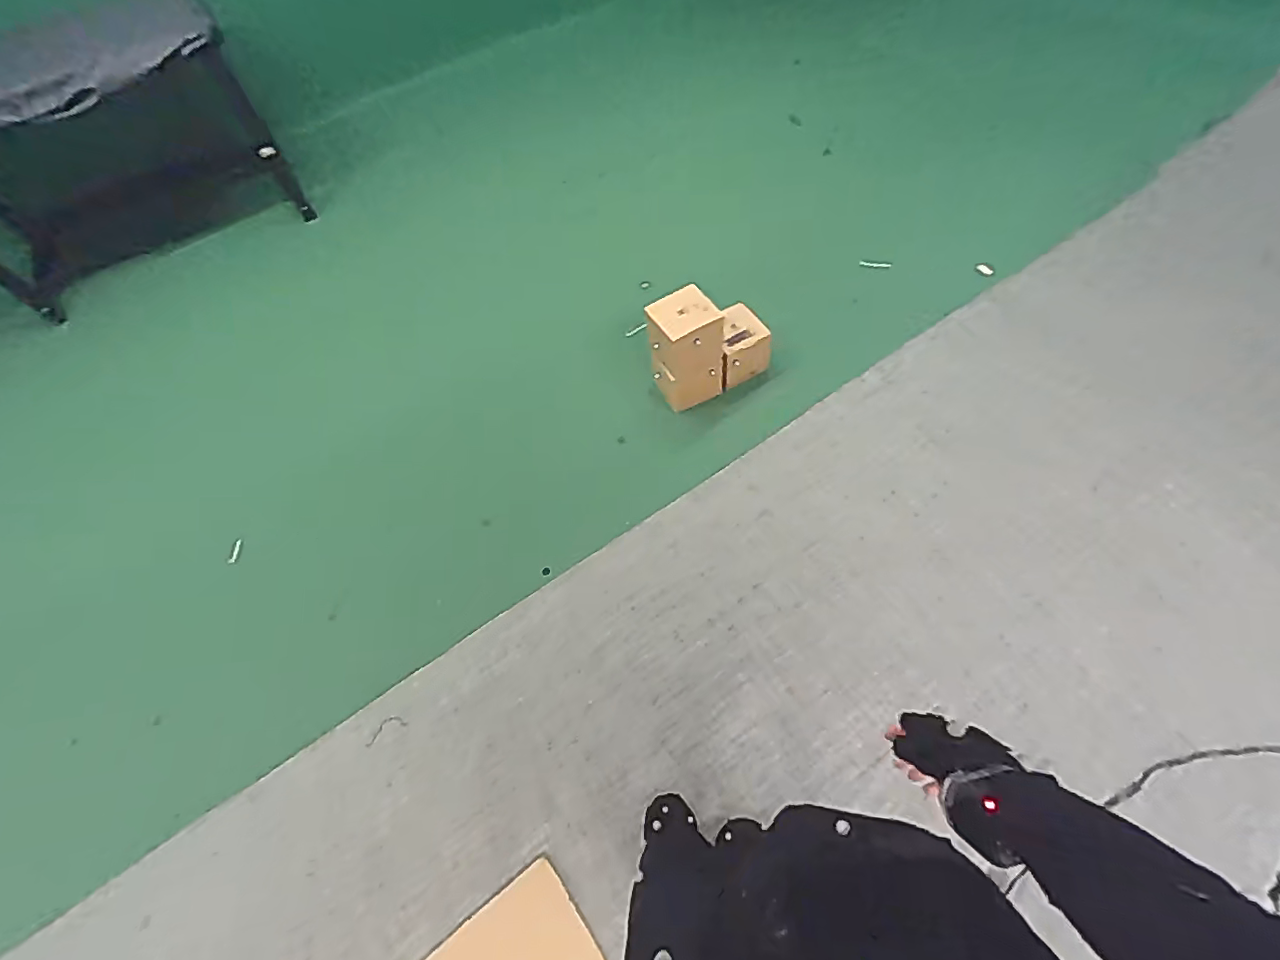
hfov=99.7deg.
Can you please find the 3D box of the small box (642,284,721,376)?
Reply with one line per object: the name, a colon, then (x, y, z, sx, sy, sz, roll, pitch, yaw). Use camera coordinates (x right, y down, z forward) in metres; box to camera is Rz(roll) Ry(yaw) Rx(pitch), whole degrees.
small box: (0.127, -0.443, 1.616, 0.179, 0.176, 0.168, -29, 61, -10)
